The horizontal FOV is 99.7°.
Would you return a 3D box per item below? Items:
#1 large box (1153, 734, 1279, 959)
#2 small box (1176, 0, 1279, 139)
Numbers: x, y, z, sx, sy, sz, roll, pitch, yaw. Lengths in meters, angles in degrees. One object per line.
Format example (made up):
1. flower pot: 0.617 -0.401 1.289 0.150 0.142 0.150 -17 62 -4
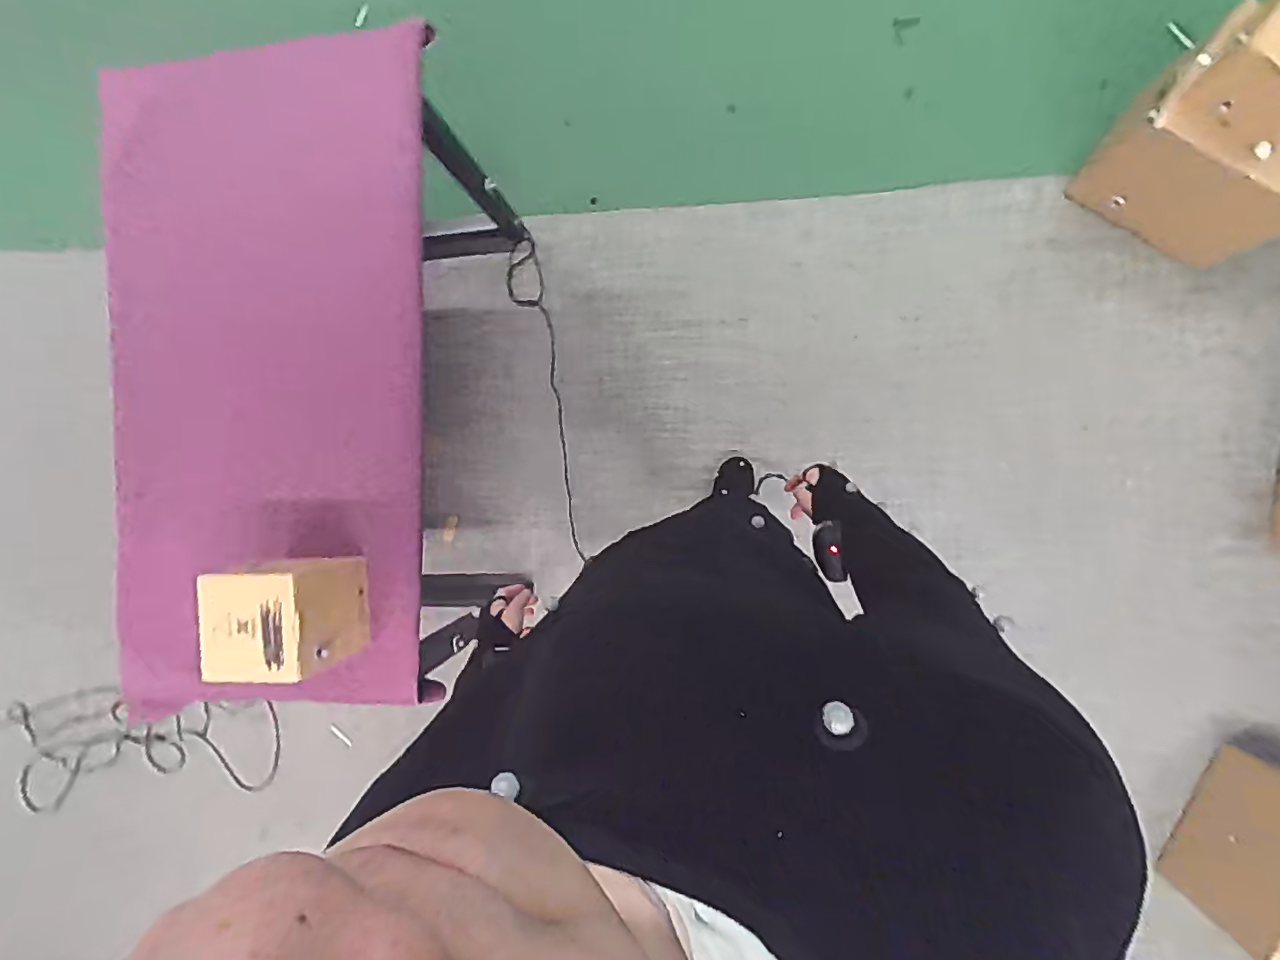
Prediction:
1. large box: 1.589 0.923 1.309 0.320 0.320 0.408 23 93 6
2. small box: 1.245 -0.834 1.070 0.168 0.176 0.179 37 97 4
